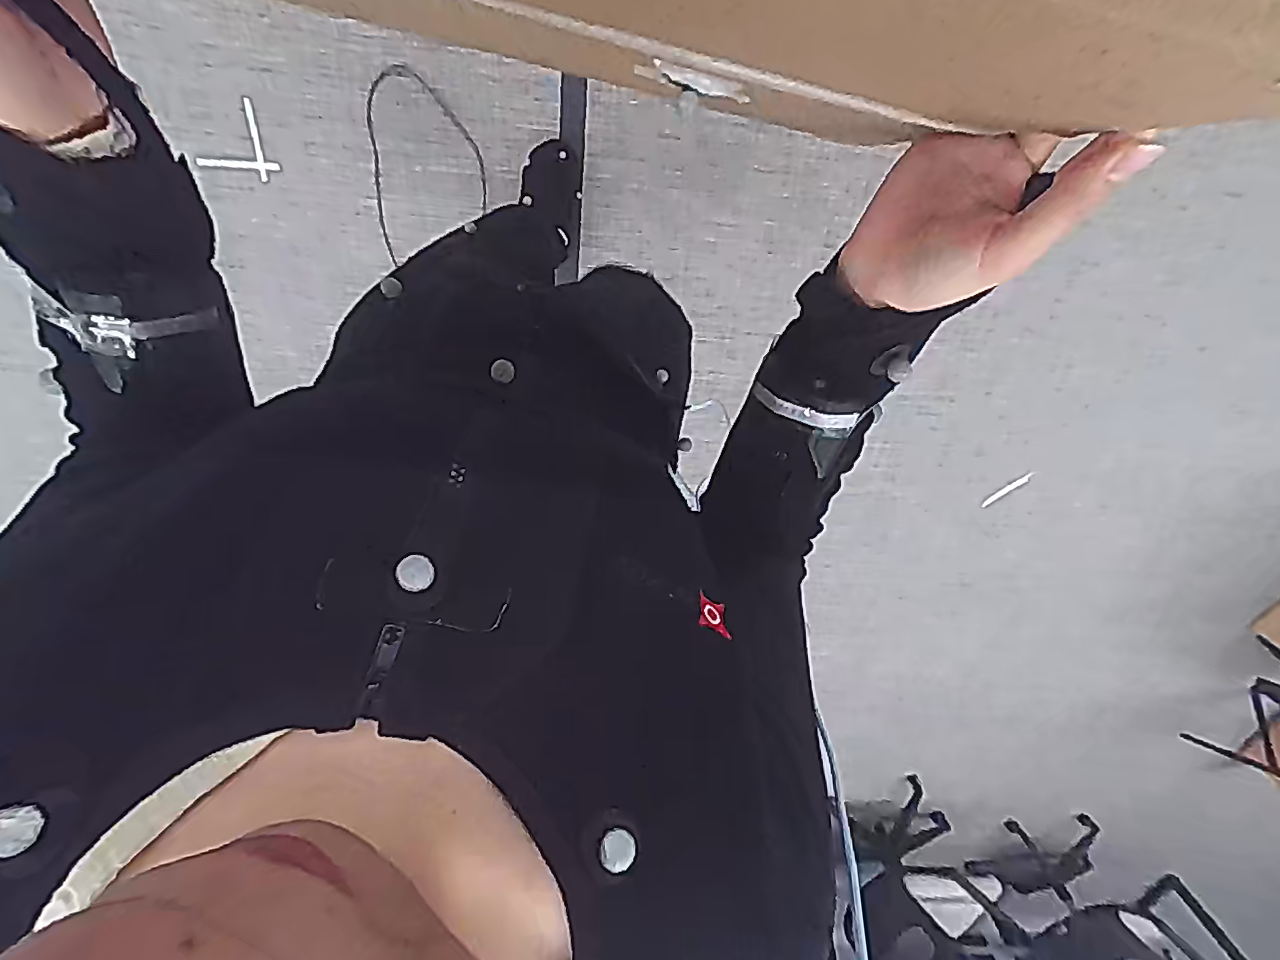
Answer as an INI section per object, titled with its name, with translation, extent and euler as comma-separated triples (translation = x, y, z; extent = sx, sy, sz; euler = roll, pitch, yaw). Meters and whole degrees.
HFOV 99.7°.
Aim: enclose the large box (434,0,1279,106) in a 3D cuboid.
[large box]
translation = -0.007, -0.316, 0.112
extent = 0.408, 0.320, 0.320
euler = 5, 120, -11
